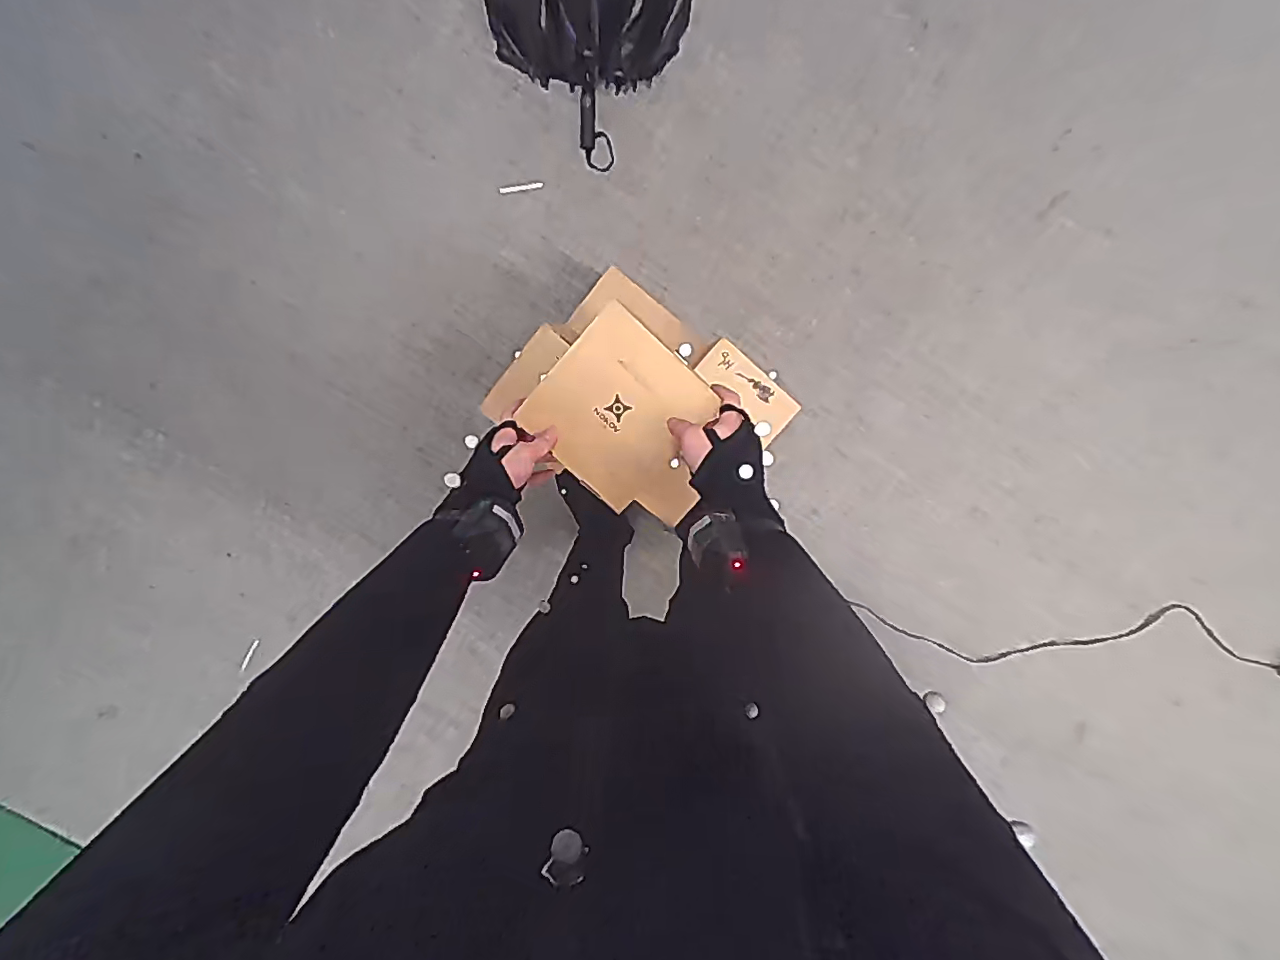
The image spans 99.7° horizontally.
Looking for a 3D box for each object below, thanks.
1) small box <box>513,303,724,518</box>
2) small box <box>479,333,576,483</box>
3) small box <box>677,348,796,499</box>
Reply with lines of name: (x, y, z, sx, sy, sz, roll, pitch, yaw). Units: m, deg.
small box: (-0.020, -0.085, 0.663, 0.168, 0.176, 0.179, 42, 100, -6)
small box: (-0.134, -0.125, 0.911, 0.168, 0.176, 0.179, 41, 101, -5)
small box: (0.128, -0.096, 0.909, 0.168, 0.176, 0.179, 41, 98, -5)
